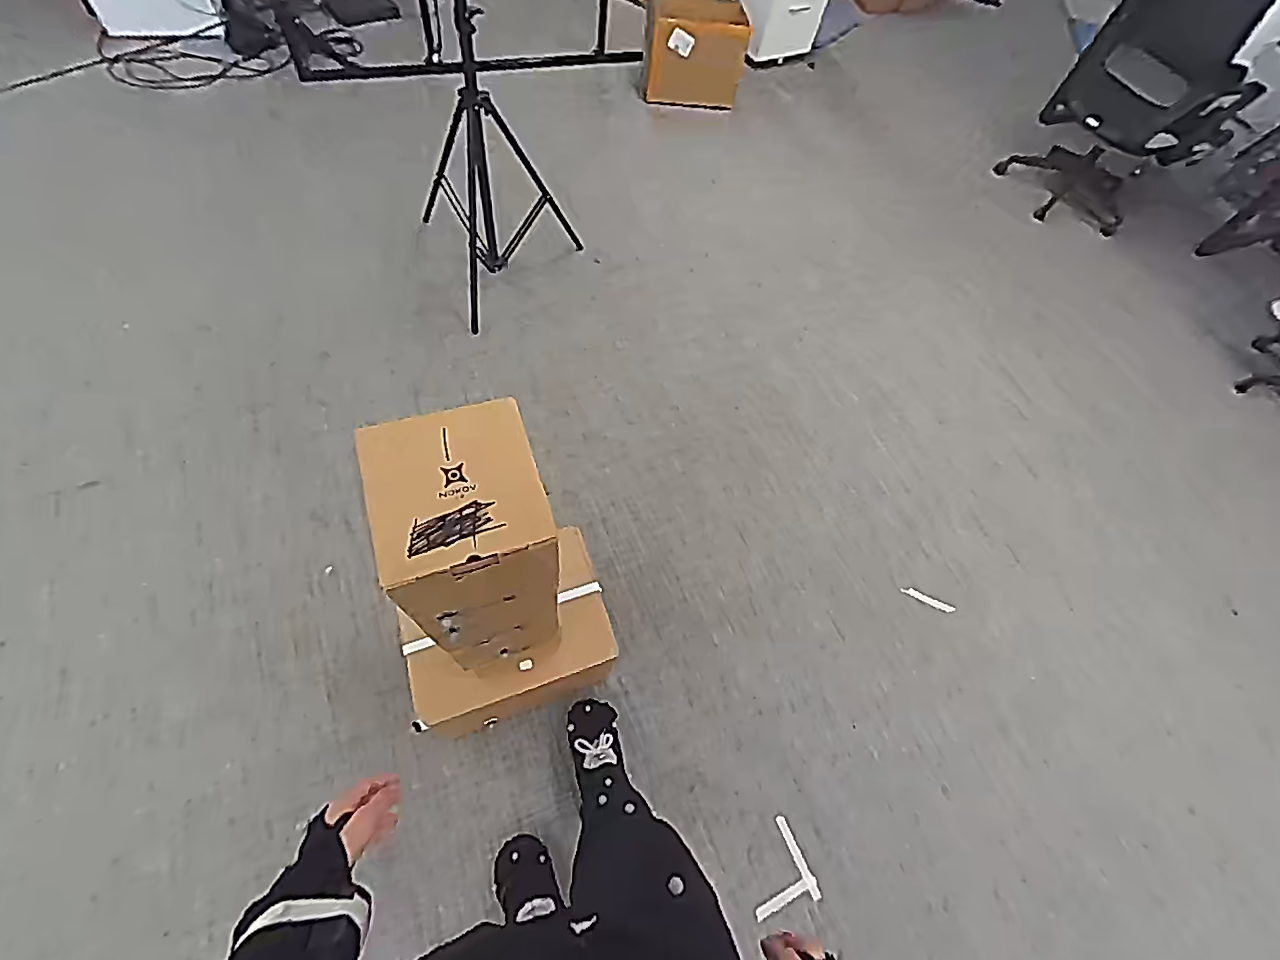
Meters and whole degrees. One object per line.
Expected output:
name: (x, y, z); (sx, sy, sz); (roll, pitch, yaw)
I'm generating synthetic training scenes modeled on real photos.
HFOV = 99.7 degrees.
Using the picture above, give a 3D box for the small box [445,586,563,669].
small box: (-0.234, 0.192, 0.895); (0.168, 0.176, 0.179); (-17, 67, -16)

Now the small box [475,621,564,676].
small box: (-0.253, 0.260, 1.041); (0.179, 0.176, 0.168); (-17, 67, -18)

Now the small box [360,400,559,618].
small box: (-0.190, 0.042, 0.606); (0.168, 0.176, 0.179); (-15, 65, -16)
